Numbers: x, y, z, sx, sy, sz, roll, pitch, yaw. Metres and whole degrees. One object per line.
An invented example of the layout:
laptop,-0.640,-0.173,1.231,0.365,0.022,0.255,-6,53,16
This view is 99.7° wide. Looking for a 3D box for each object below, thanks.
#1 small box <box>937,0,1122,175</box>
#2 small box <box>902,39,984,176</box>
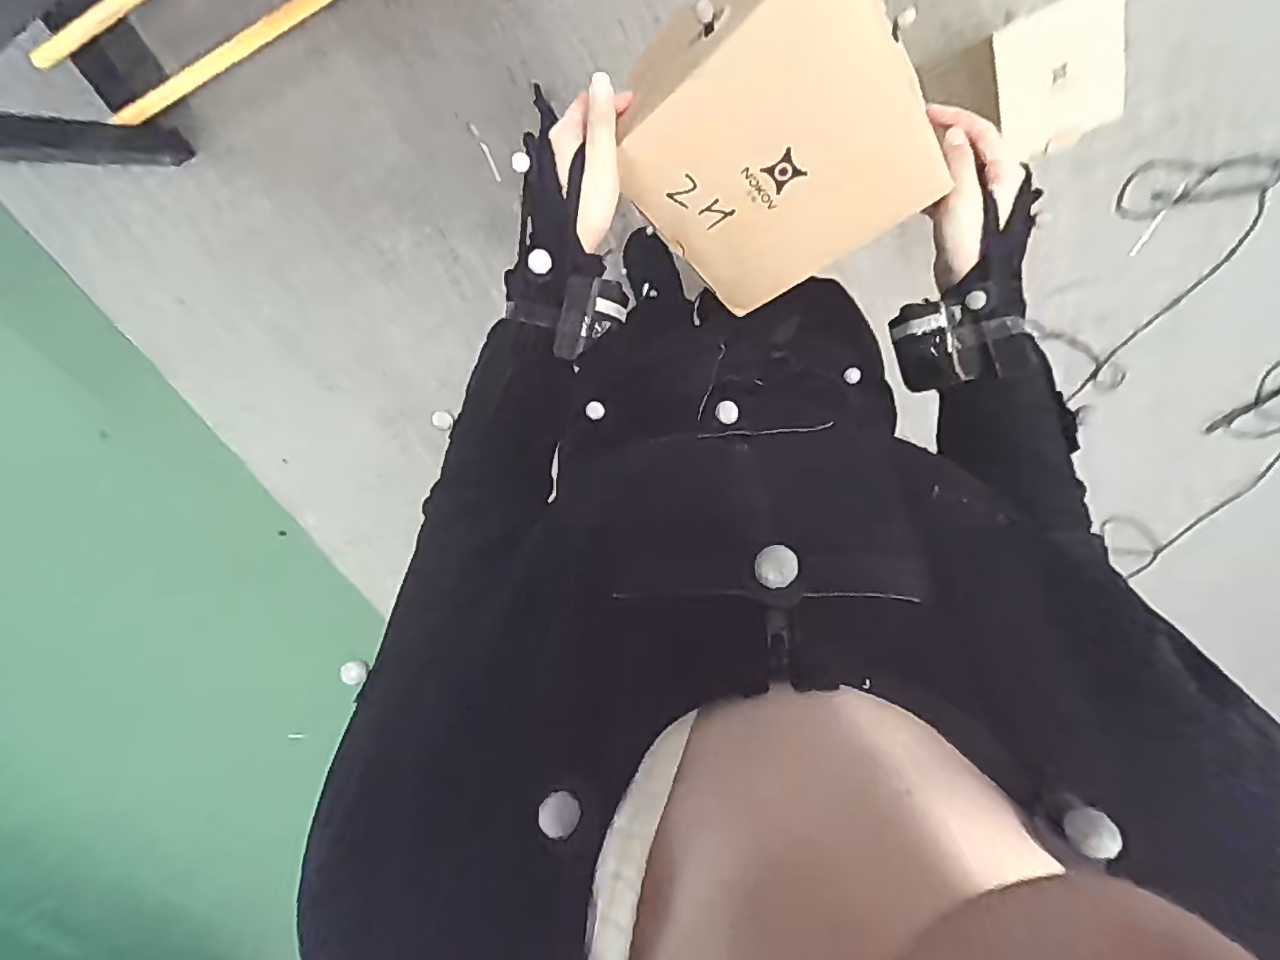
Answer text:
small box,0.585,-0.593,0.826,0.168,0.176,0.179,-21,116,12
small box,0.593,-0.672,0.969,0.168,0.176,0.179,-19,118,11
